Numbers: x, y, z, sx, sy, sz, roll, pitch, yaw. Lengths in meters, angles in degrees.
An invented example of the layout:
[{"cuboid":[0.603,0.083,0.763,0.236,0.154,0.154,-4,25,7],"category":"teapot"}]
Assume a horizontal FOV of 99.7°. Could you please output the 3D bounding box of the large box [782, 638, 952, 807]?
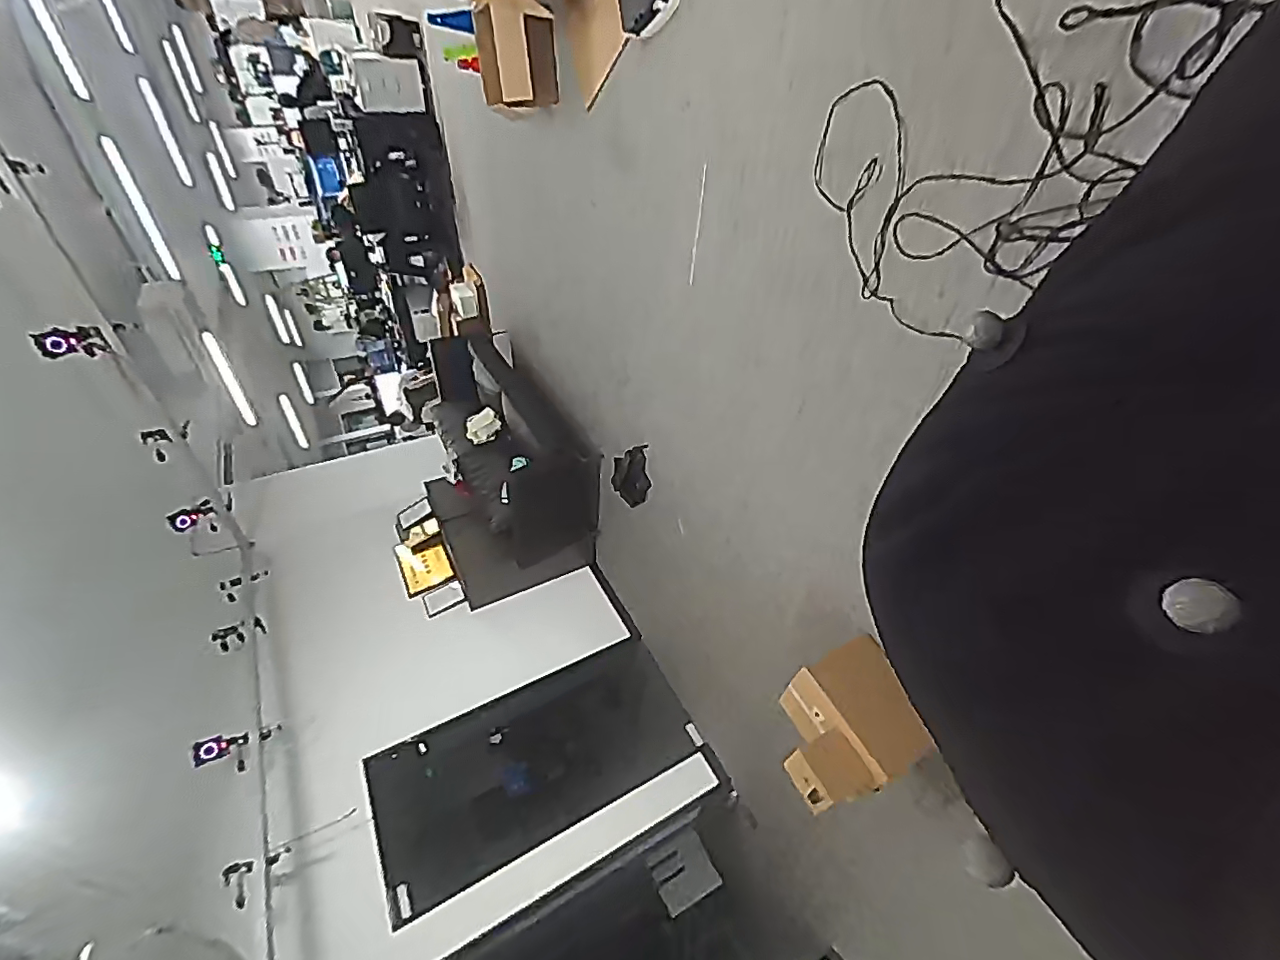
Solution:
[{"cuboid":[0.783,0.847,1.914,0.408,0.320,0.320,56,151,35],"category":"large box"}]
